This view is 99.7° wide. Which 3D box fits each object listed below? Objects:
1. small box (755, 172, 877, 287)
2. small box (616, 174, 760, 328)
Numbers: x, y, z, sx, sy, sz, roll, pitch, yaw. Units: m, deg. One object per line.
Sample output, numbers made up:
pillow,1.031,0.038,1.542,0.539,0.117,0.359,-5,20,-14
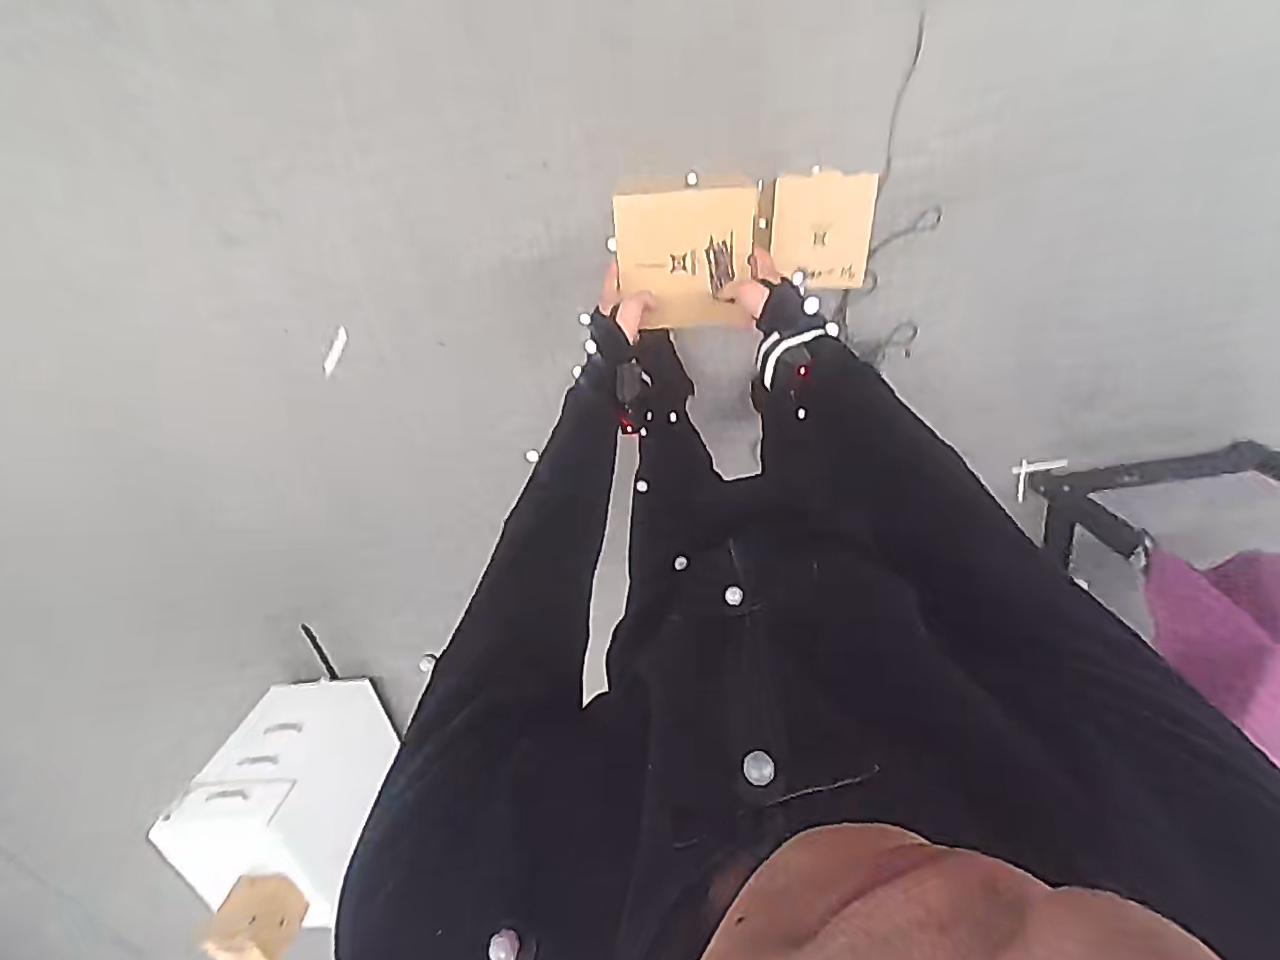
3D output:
small box,0.306,-0.447,0.978,0.168,0.176,0.179,1,115,3
small box,0.059,-0.323,0.753,0.179,0.176,0.168,-2,124,2
